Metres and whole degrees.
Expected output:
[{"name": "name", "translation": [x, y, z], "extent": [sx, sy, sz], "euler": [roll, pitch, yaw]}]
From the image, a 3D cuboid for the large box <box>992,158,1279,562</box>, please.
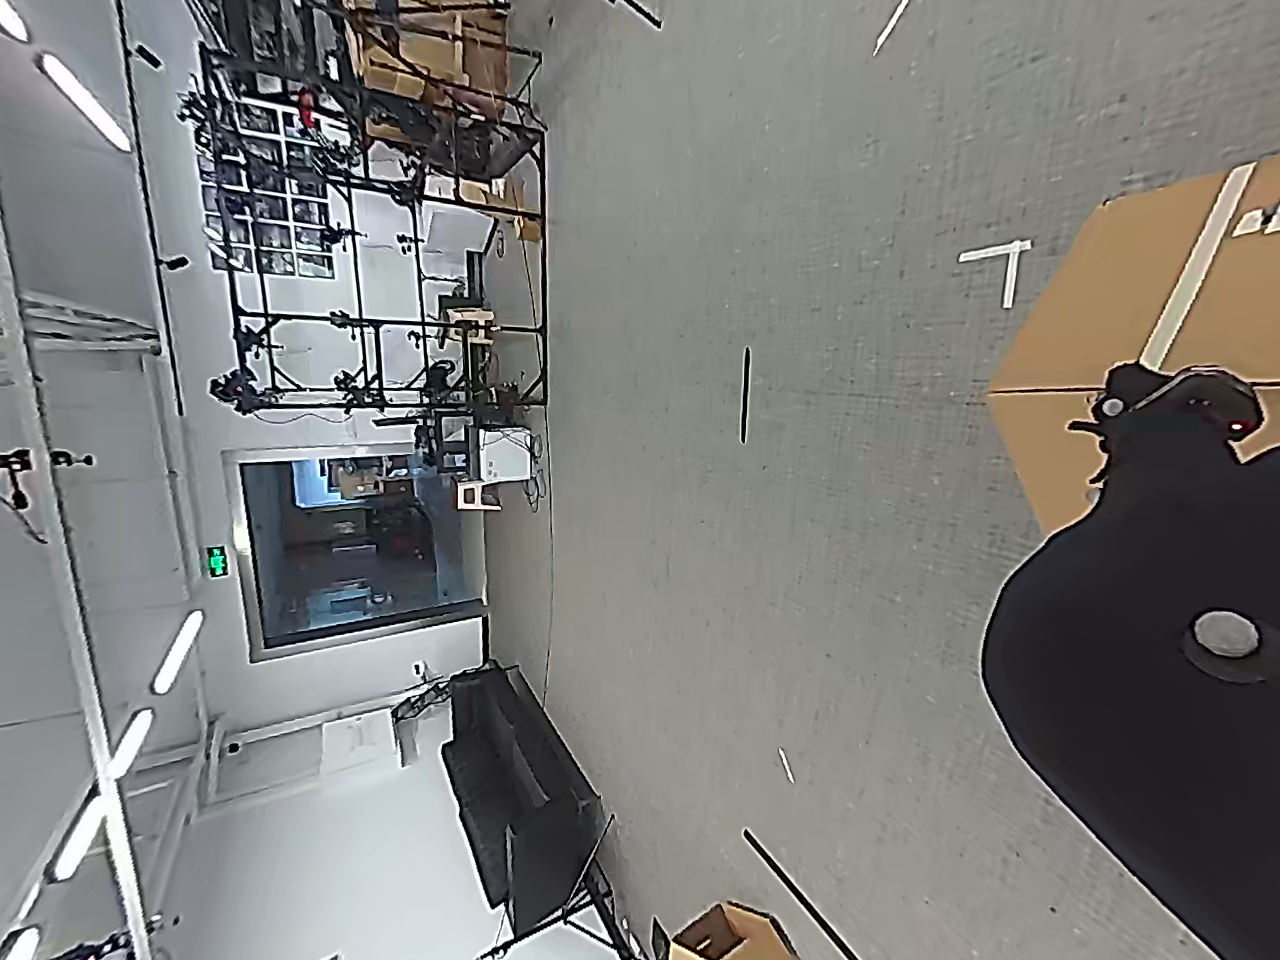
[{"name": "large box", "translation": [0.748, -0.150, 0.706], "extent": [0.320, 0.408, 0.320], "euler": [48, 162, -27]}]
